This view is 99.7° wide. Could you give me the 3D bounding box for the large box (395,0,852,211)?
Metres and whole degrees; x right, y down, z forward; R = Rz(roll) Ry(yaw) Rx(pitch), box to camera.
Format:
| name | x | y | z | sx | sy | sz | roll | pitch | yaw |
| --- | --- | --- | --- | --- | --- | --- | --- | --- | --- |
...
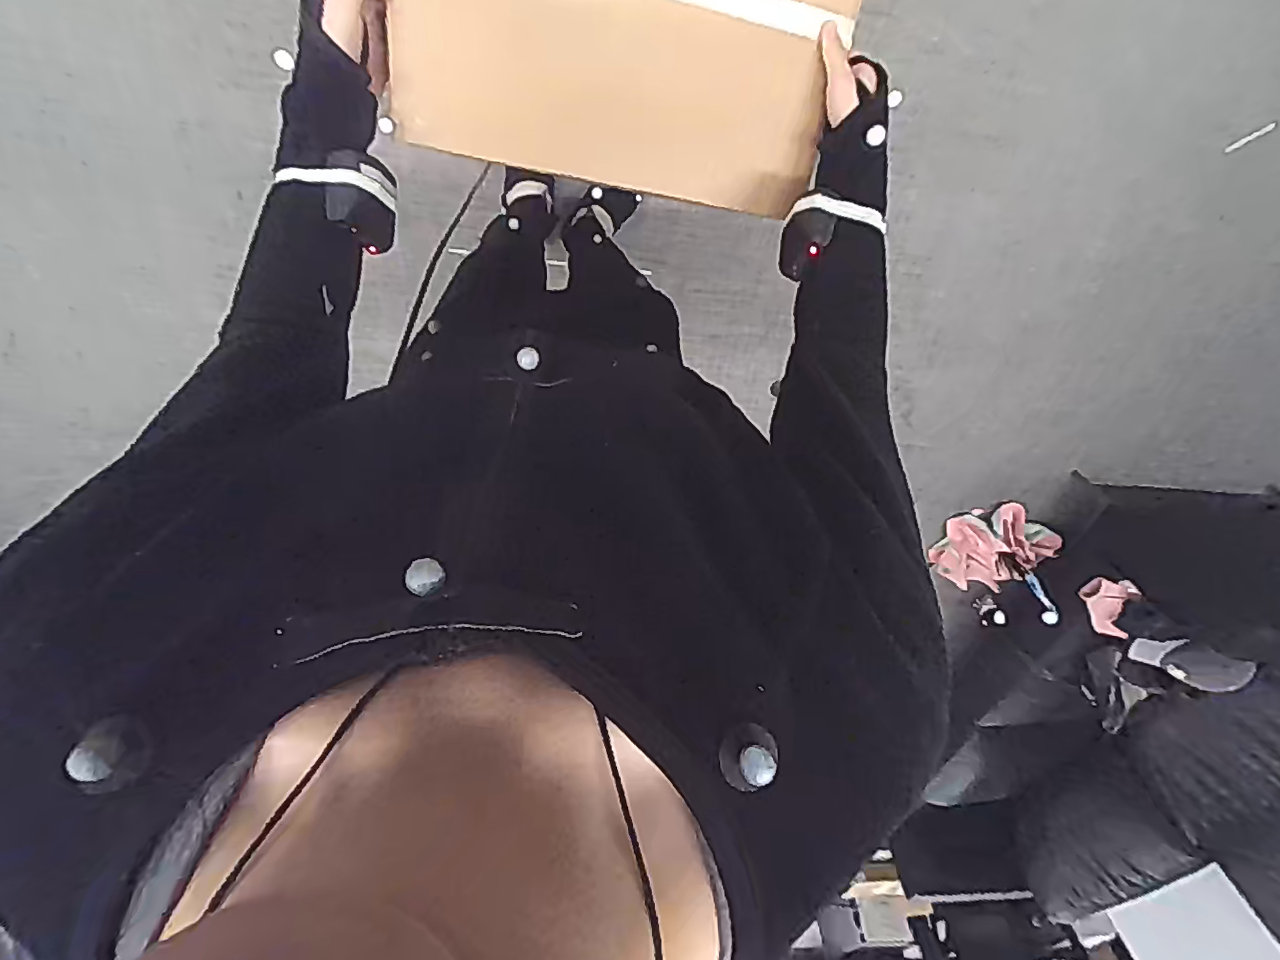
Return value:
| name | x | y | z | sx | sy | sz | roll | pitch | yaw |
| --- | --- | --- | --- | --- | --- | --- | --- | --- | --- |
| large box | -0.021 | -0.508 | 0.595 | 0.408 | 0.320 | 0.320 | 5 | 119 | -11 |
